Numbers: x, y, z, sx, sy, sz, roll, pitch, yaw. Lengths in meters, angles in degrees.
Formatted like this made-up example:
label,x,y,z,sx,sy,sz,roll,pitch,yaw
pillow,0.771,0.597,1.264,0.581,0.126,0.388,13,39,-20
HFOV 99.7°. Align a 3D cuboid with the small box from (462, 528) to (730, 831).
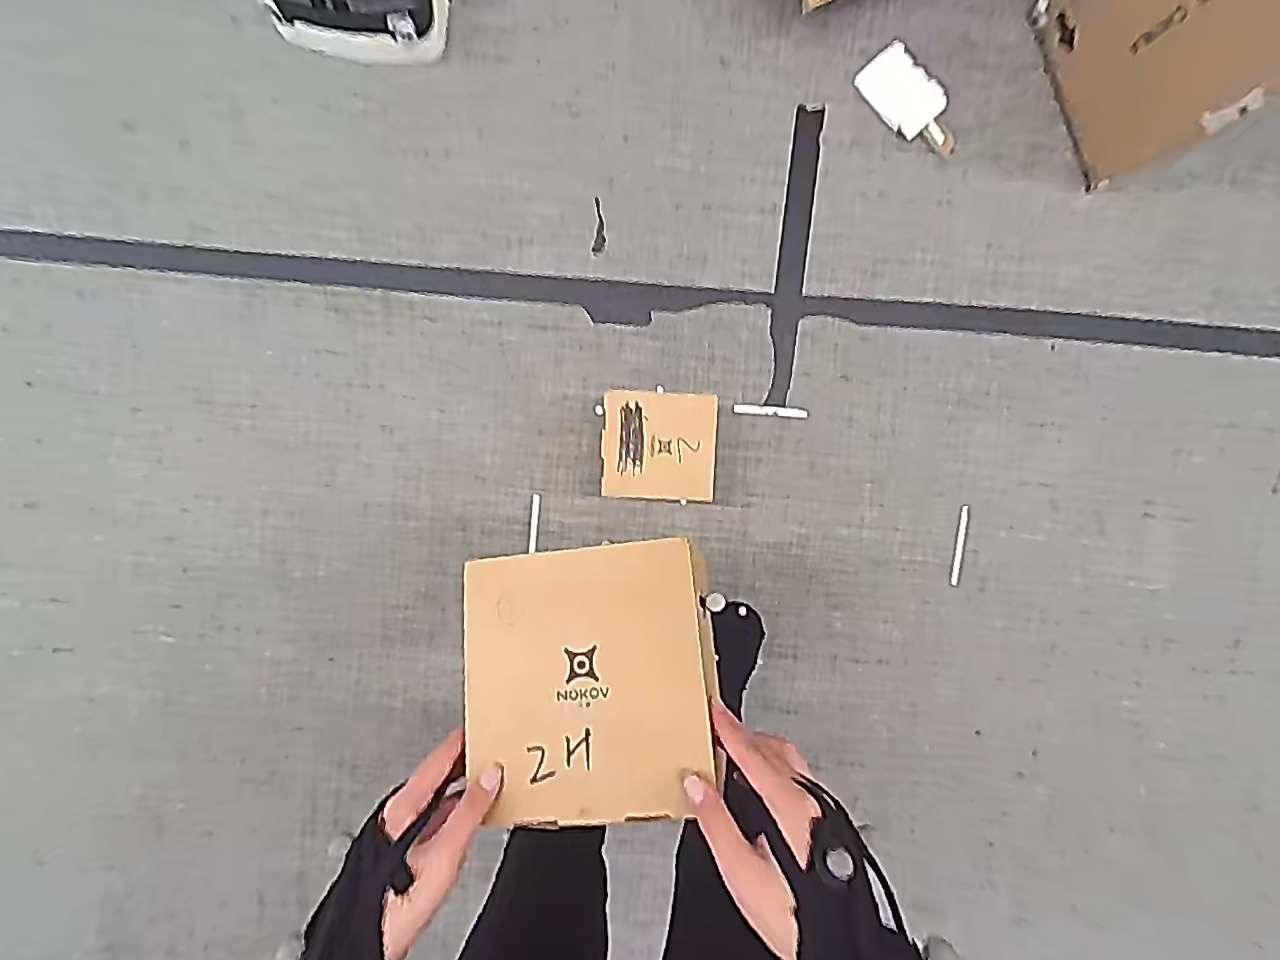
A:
label,x,y,z,sx,sy,sz,roll,pitch,yaw
small box,-0.023,0.143,0.422,0.168,0.176,0.179,-8,76,8
